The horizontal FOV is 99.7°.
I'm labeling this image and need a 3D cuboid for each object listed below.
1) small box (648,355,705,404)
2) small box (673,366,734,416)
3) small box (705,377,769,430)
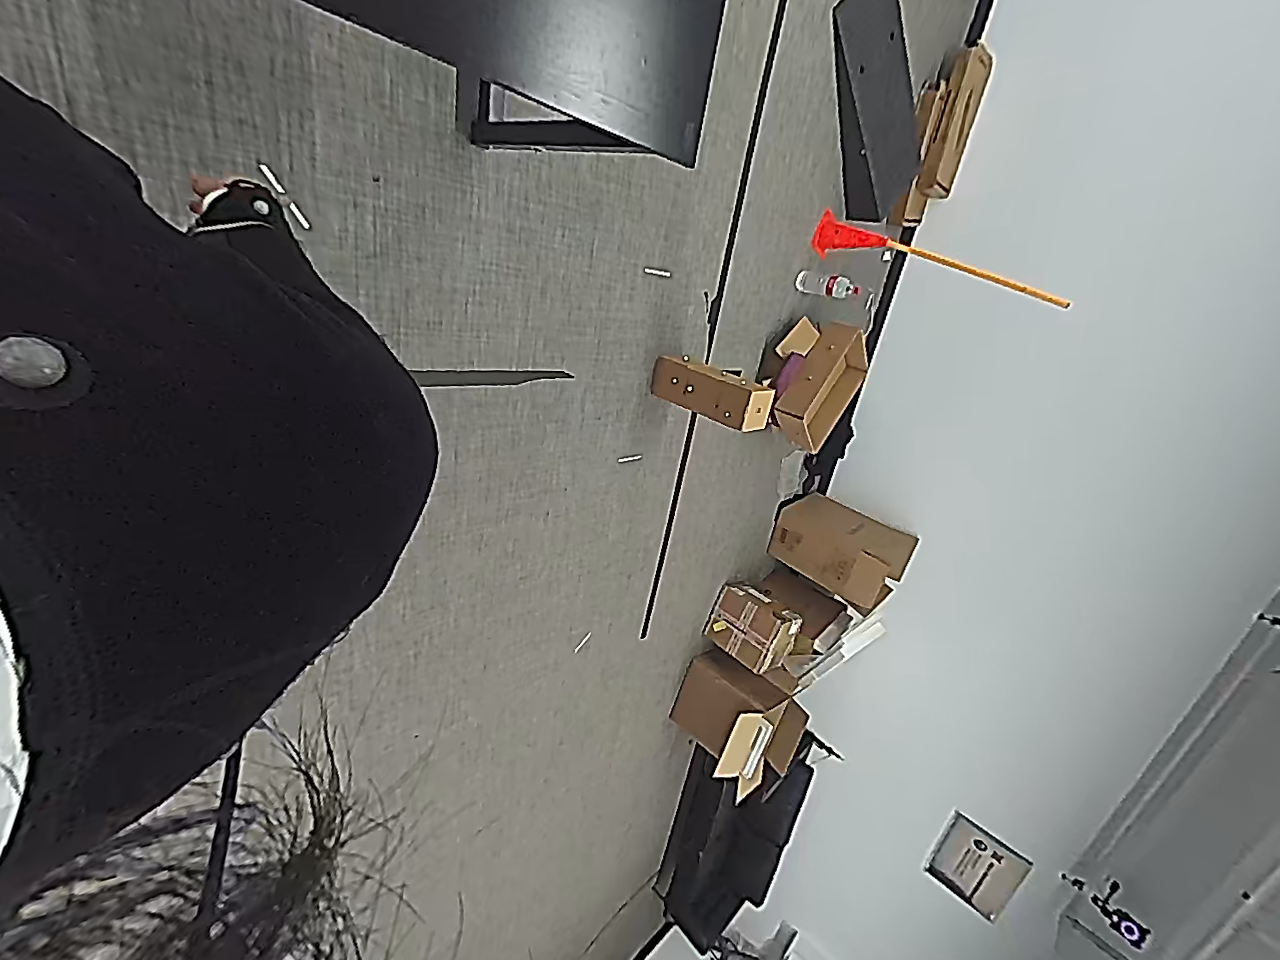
[{"bbox_3d":[0.155,-0.443,2.358,0.168,0.176,0.179,-12,122,-46],"label":"small box"},{"bbox_3d":[0.268,-0.376,2.259,0.179,0.176,0.168,-12,122,-46],"label":"small box"},{"bbox_3d":[0.385,-0.312,2.166,0.179,0.176,0.168,-14,124,-46],"label":"small box"}]
